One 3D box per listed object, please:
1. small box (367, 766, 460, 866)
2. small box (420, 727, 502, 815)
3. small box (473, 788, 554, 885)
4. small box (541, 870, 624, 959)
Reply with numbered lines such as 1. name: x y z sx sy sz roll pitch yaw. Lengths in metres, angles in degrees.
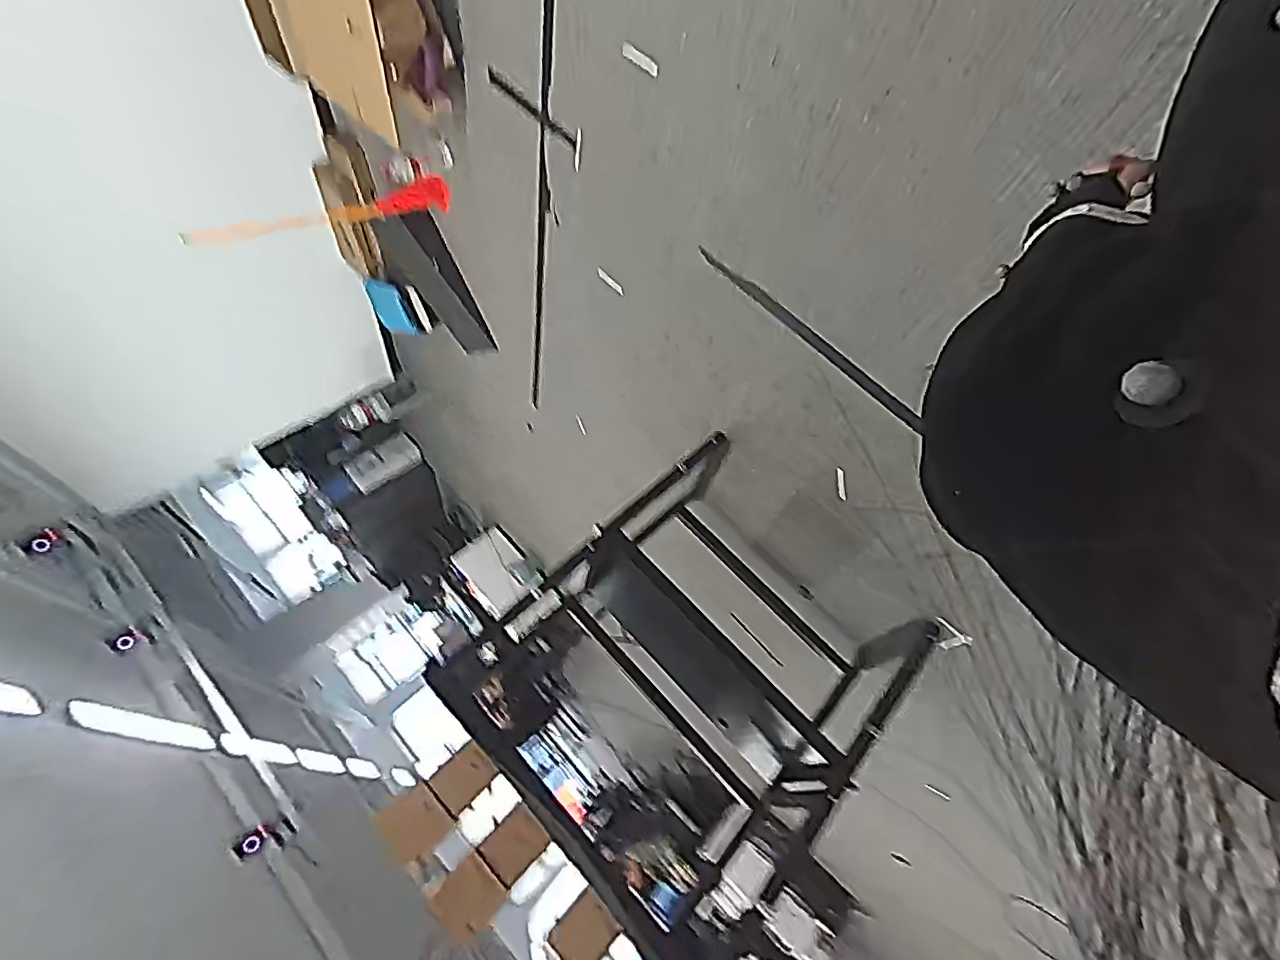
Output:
1. small box: -0.649 0.963 1.555 0.179 0.176 0.168 43 152 16
2. small box: -0.536 0.877 1.643 0.168 0.176 0.179 44 152 11
3. small box: -0.371 1.041 1.595 0.168 0.176 0.179 46 152 11
4. small box: -0.162 1.251 1.533 0.168 0.176 0.179 43 153 17
